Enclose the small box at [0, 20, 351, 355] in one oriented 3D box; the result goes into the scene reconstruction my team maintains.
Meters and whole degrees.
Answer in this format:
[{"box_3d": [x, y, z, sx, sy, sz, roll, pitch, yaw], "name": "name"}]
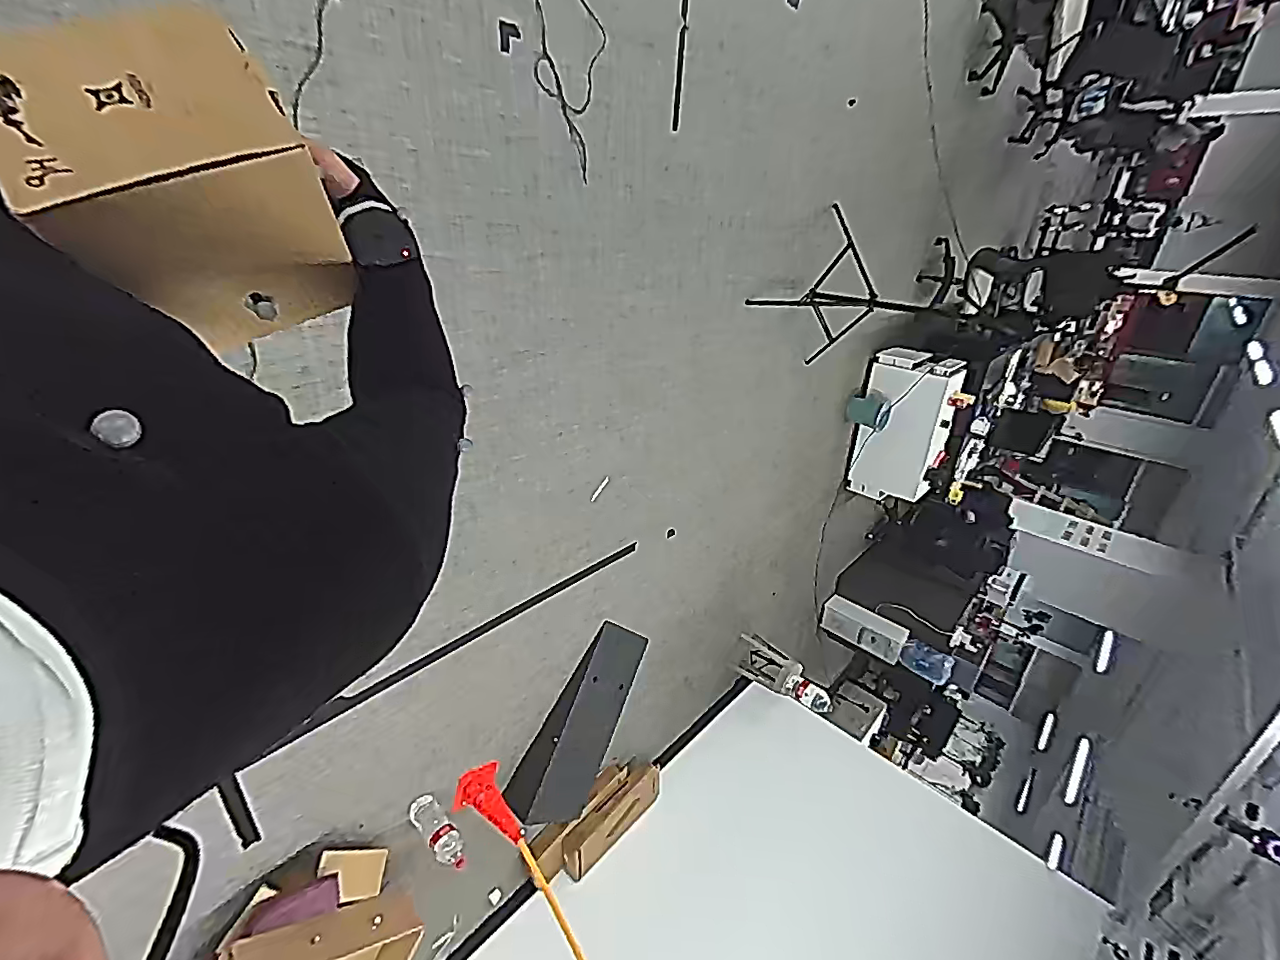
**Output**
[{"box_3d": [-0.378, -0.242, 0.468, 0.179, 0.168, 0.176, -30, 167, -22], "name": "small box"}]
